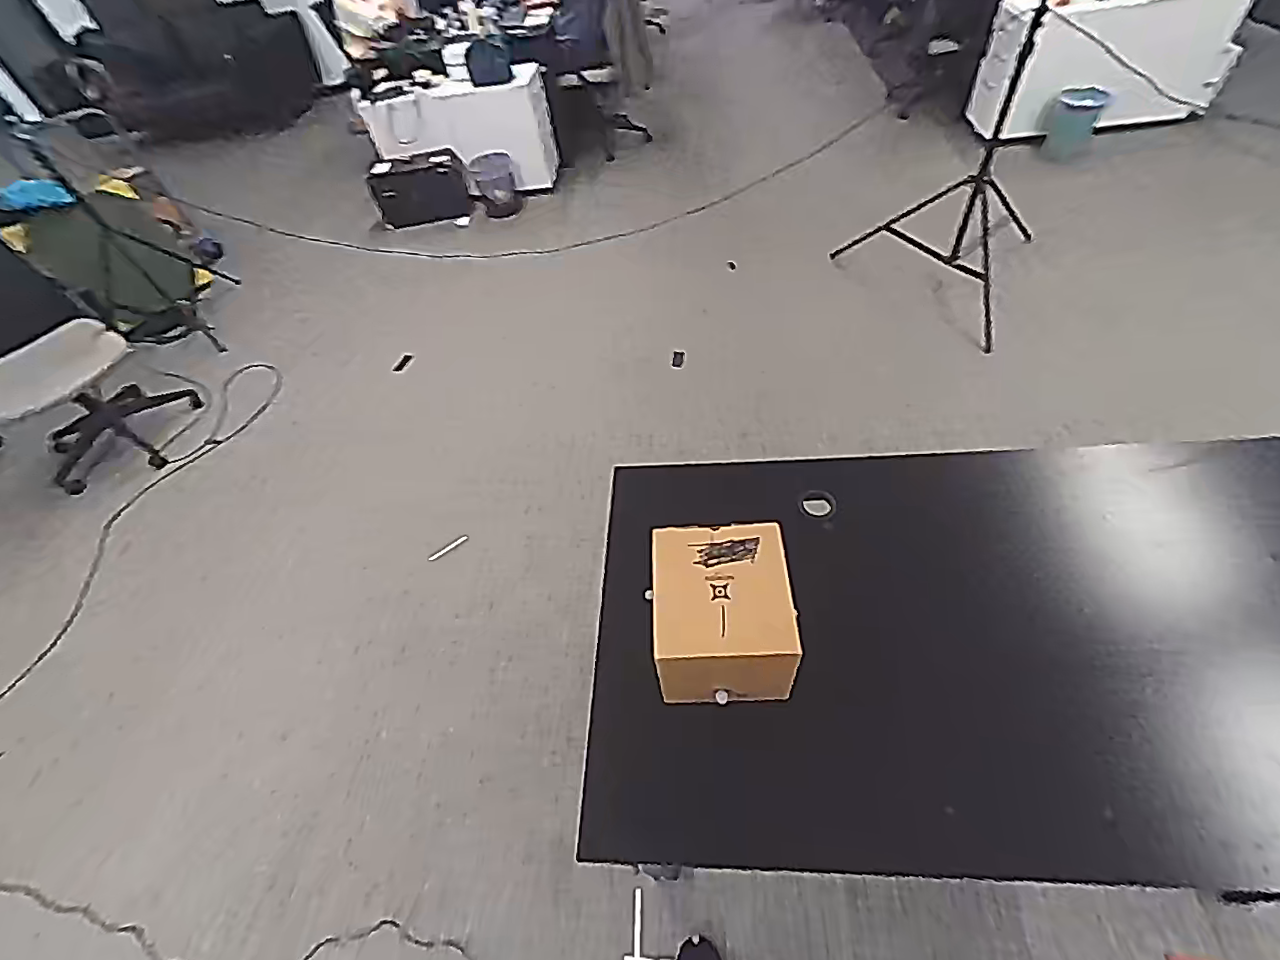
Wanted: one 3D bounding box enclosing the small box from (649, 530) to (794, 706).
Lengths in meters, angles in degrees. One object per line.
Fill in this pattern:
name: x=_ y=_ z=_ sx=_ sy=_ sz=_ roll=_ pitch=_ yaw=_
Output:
small box: x=0.101 y=0.186 z=0.719 sx=0.168 sy=0.176 sz=0.179 roll=-4 pitch=52 yaw=6
